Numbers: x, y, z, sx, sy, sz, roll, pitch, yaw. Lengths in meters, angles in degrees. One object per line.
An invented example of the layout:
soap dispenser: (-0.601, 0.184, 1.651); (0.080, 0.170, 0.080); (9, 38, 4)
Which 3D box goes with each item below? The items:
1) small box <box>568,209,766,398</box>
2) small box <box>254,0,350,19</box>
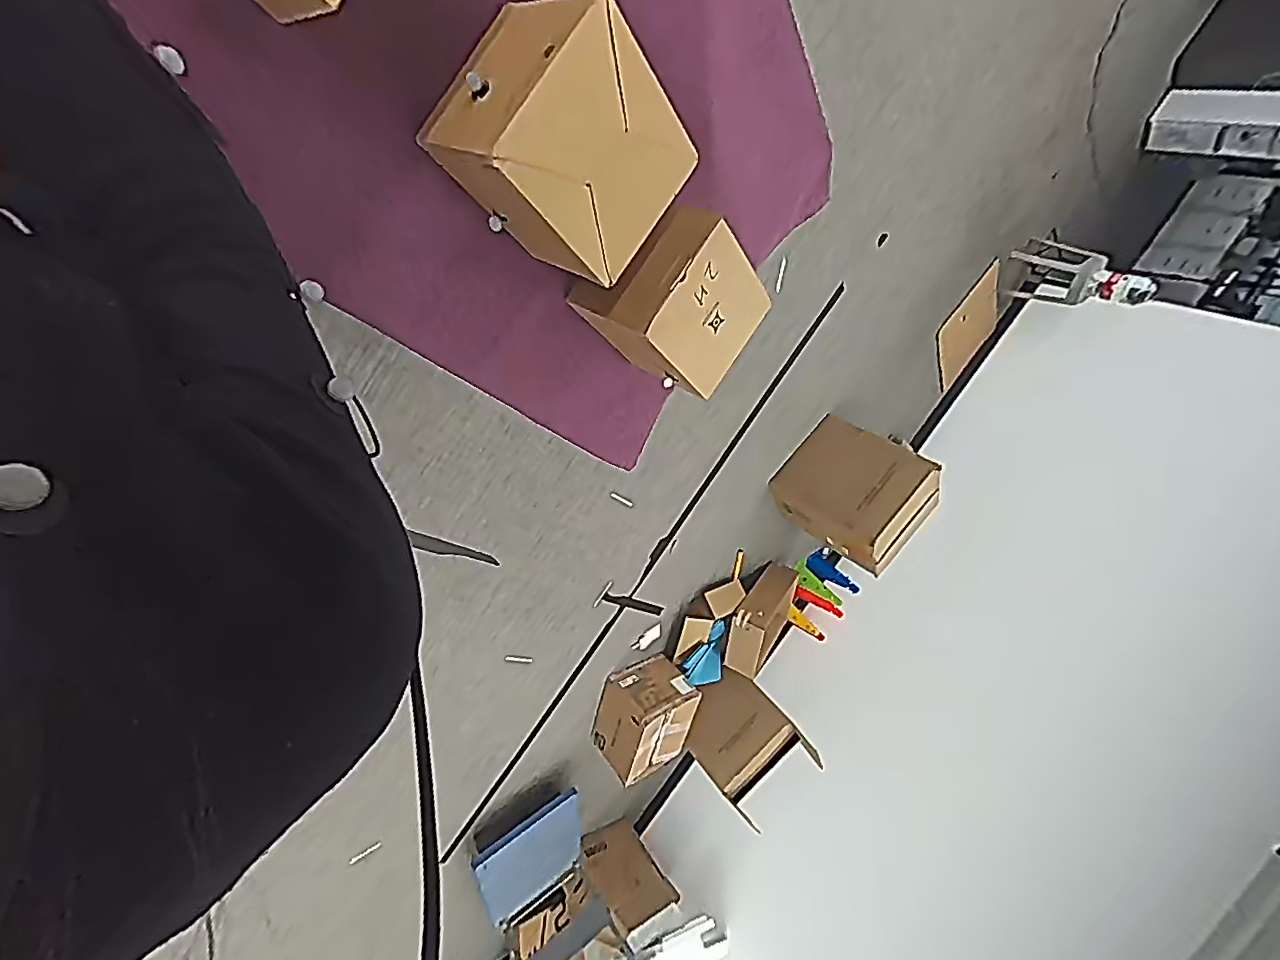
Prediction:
small box: (0.038, -0.247, 0.749); (0.168, 0.176, 0.179); (-56, 142, 0)
small box: (-0.238, -0.436, 0.332); (0.179, 0.176, 0.168); (-55, 141, 3)
